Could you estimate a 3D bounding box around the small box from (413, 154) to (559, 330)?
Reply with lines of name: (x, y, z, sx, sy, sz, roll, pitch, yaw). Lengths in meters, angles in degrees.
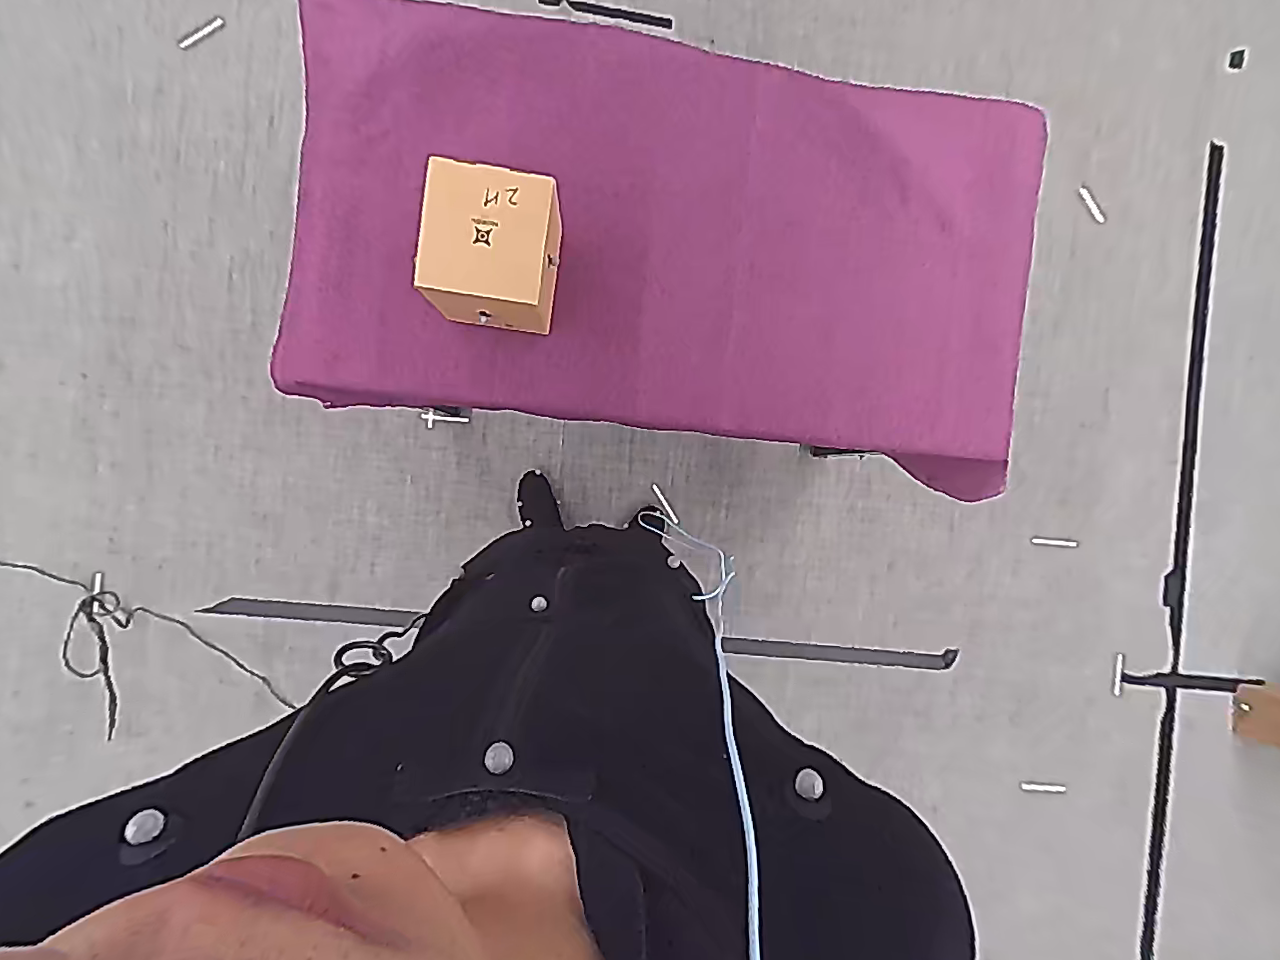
small box: (-0.213, -0.332, 0.792, 0.168, 0.176, 0.179, 8, 91, -5)
